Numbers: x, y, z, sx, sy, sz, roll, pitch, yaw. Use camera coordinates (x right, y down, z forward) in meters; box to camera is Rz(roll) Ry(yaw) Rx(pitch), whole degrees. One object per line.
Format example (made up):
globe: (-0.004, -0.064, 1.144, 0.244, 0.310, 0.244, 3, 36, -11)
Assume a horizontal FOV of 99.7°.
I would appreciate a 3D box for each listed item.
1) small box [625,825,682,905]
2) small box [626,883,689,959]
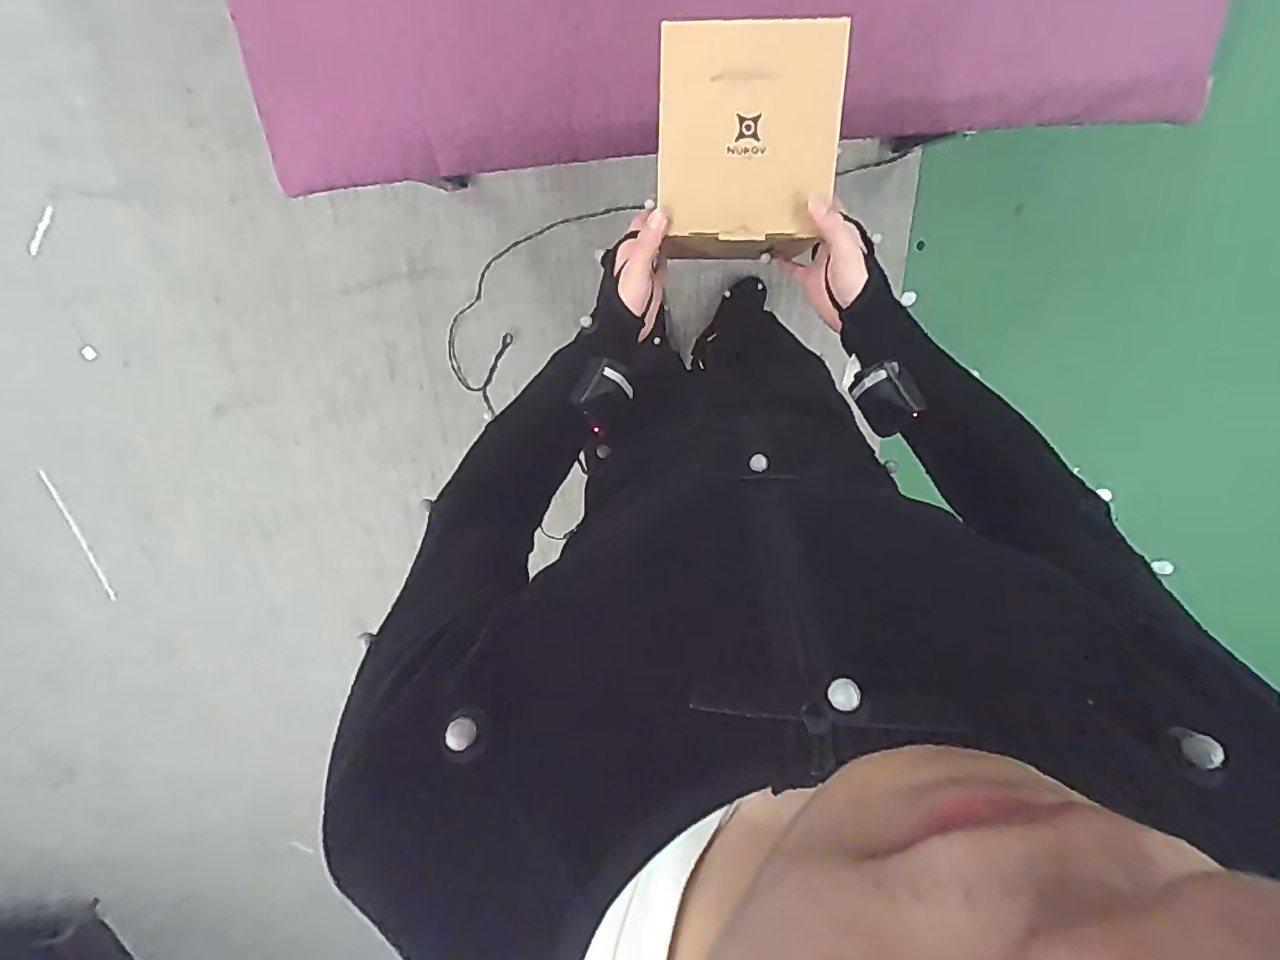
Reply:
small box: (0.038, 1.203, 1.669, 0.168, 0.176, 0.179, -1, 115, -3)
small box: (0.044, 1.270, 1.521, 0.168, 0.176, 0.179, 0, 114, -2)
